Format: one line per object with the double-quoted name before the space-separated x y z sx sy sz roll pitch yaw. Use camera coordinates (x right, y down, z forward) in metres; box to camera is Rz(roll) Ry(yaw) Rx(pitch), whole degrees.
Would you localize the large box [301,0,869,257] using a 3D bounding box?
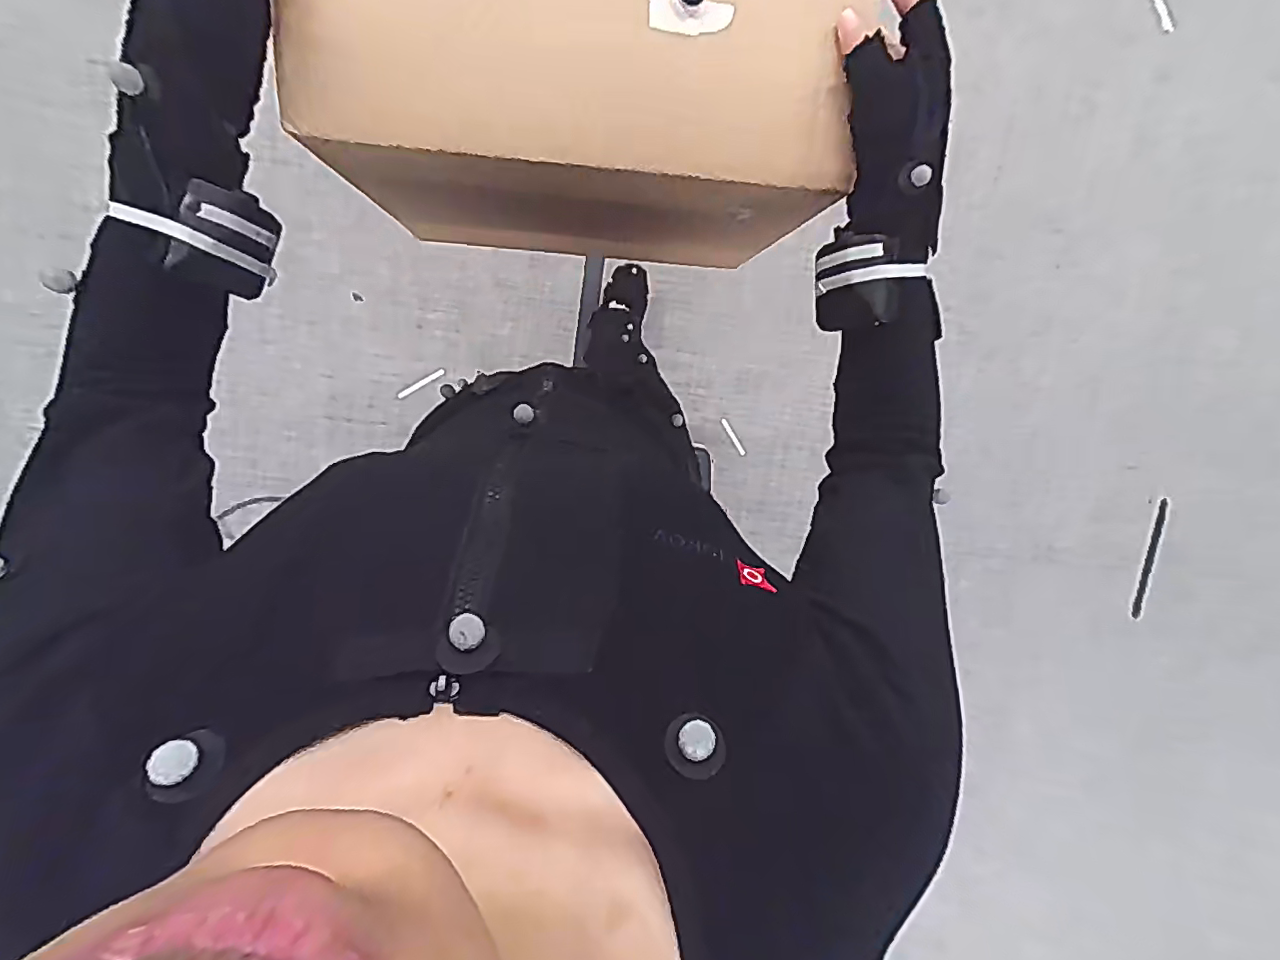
"large box" -0.045 -0.415 0.513 0.408 0.320 0.320 1 102 -8
